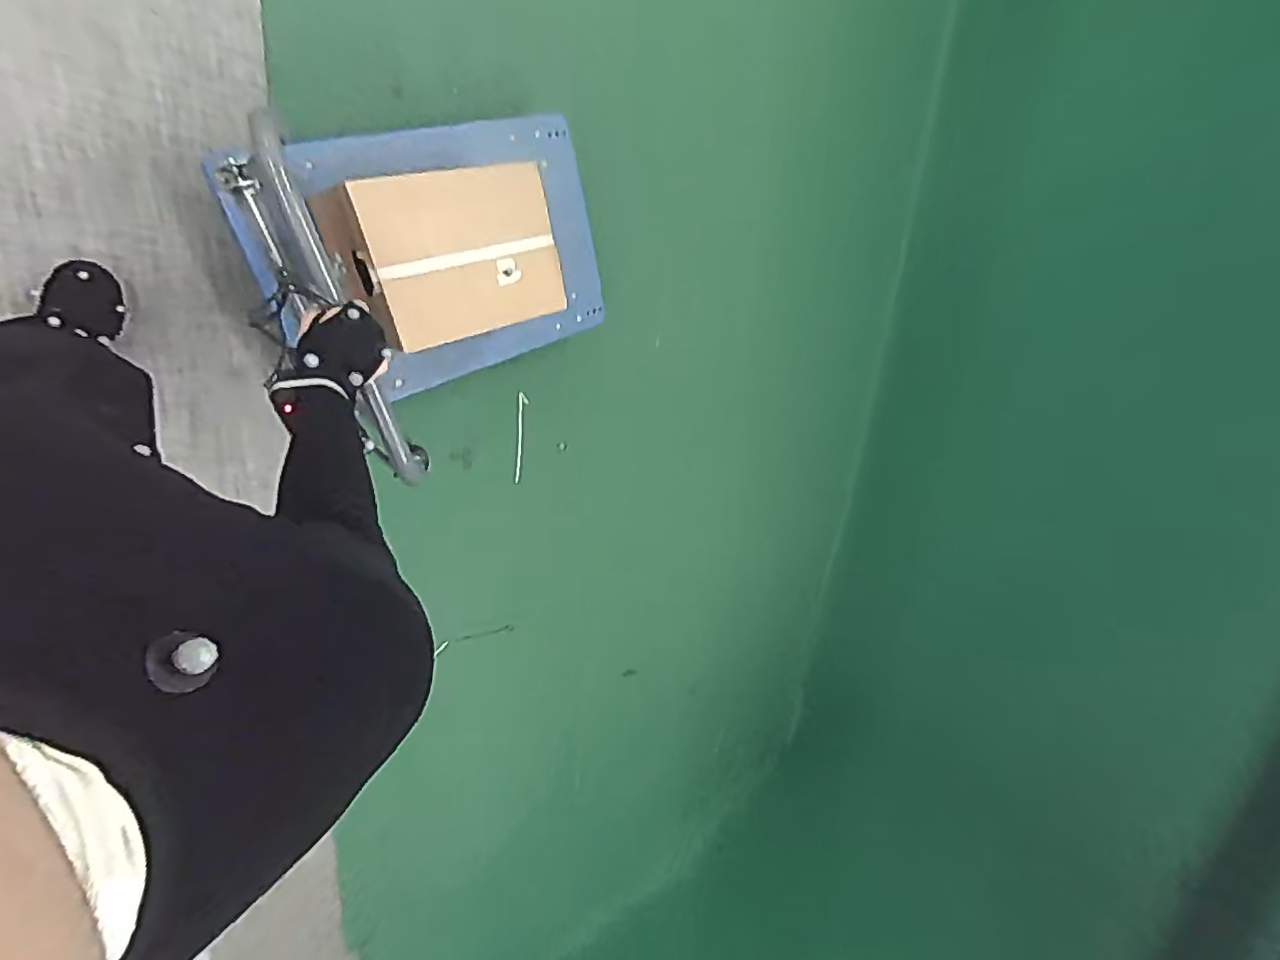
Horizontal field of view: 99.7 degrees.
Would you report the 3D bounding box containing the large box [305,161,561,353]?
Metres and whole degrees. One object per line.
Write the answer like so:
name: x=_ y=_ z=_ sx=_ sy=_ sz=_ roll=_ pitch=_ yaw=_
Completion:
large box: x=-0.455 y=-0.506 z=1.224 sx=0.408 sy=0.320 sz=0.320 roll=-29 pitch=124 yaw=-33
